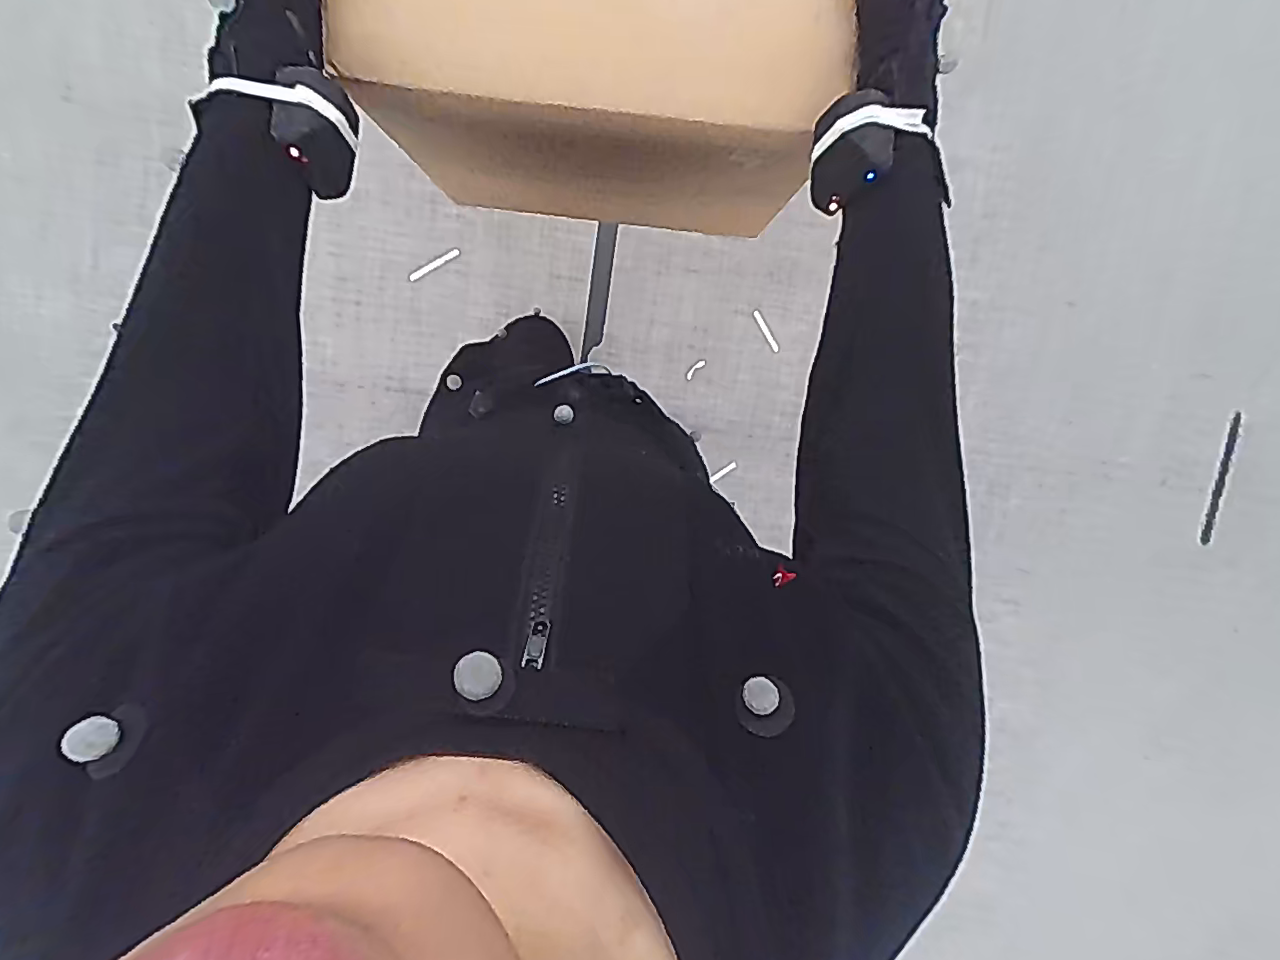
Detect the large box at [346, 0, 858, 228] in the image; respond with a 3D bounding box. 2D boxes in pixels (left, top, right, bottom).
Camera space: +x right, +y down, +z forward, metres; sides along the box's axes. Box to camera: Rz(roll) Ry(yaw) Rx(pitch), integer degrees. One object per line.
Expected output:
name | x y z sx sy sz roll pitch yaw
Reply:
large box | -0.026 -0.475 0.551 0.408 0.320 0.320 5 101 -3
